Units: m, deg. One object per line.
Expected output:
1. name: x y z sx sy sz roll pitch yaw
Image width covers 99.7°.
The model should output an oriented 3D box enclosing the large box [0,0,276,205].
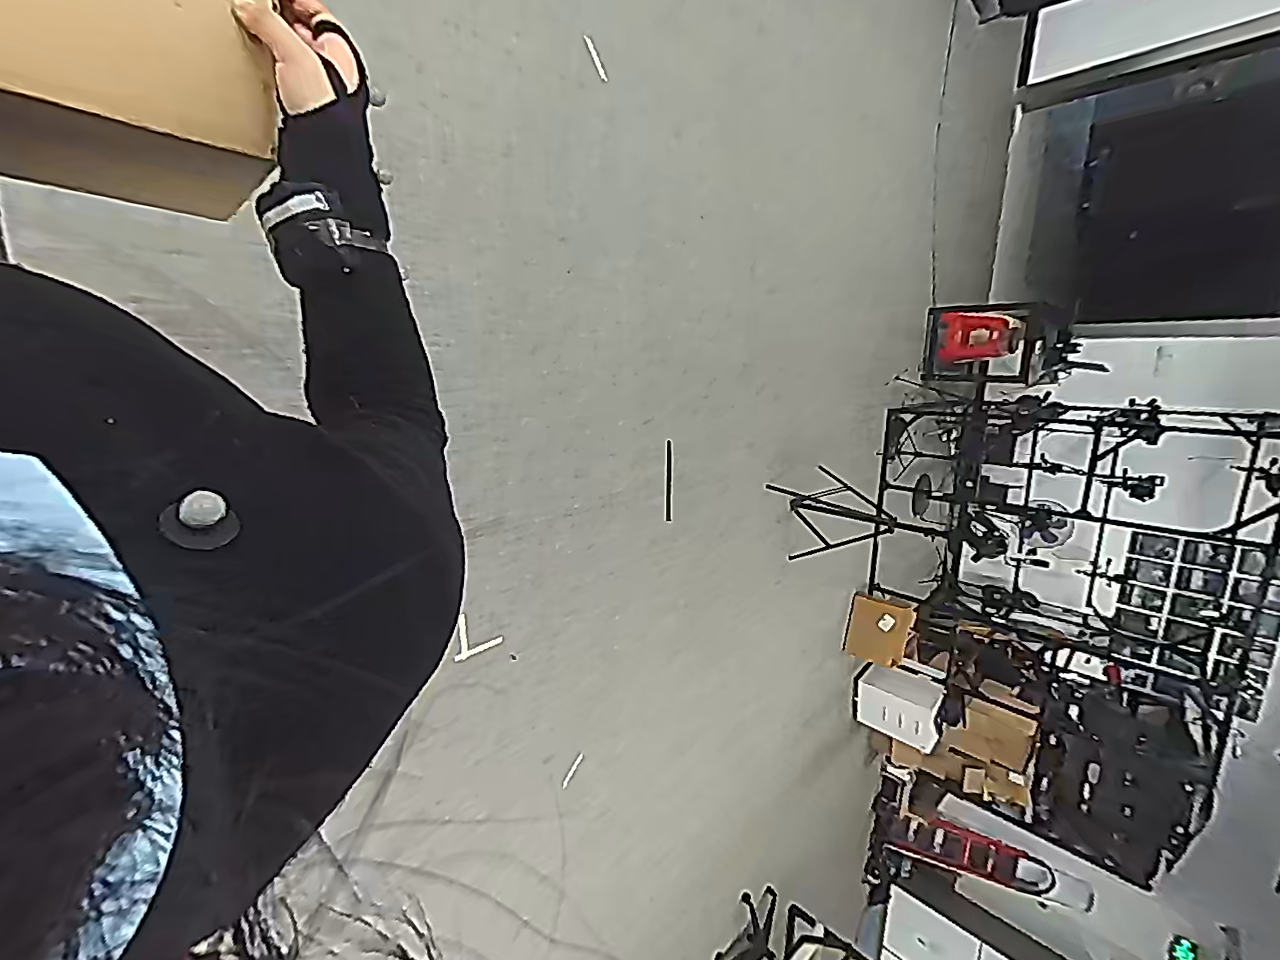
1. large box: -0.520 -0.418 0.369 0.408 0.320 0.320 -6 104 -42
